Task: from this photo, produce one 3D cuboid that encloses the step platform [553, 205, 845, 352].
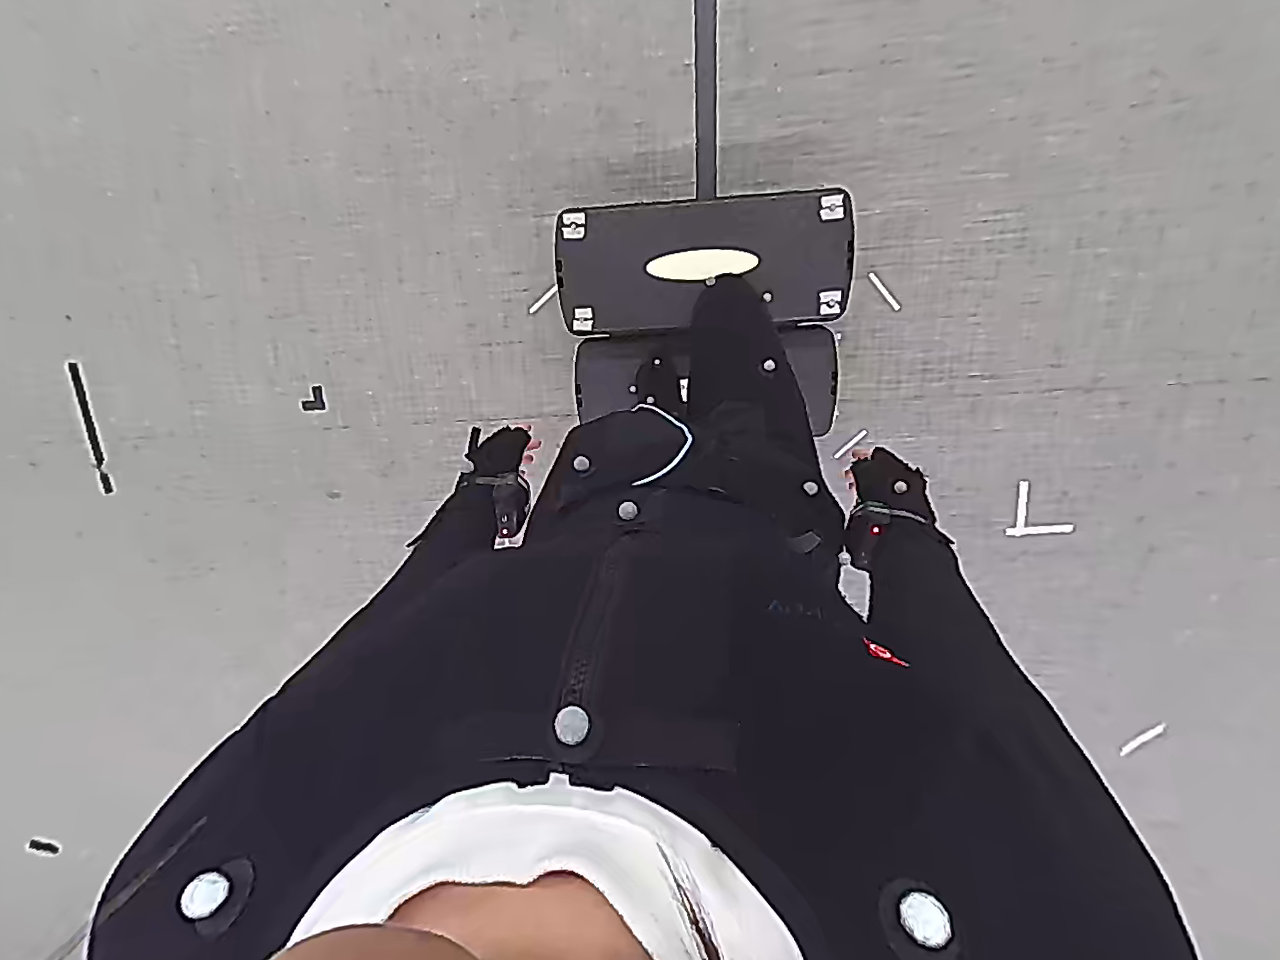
[{"bbox_3d":[0.134,-0.476,1.311,0.684,0.204,0.286,-3,106,4],"label":"step platform"}]
